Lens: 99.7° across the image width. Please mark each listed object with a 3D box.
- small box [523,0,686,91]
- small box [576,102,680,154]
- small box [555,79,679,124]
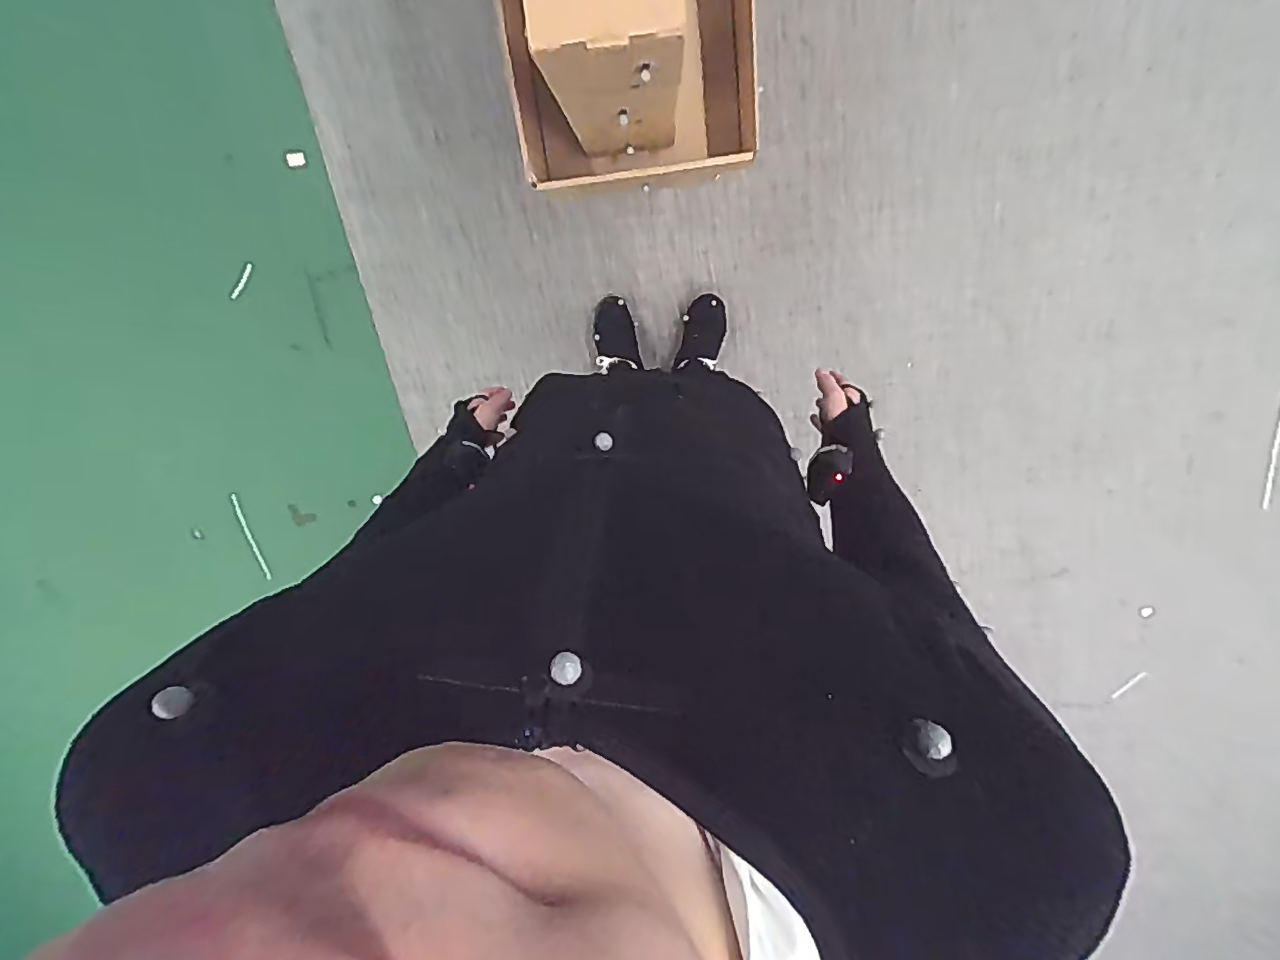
[{"bbox_3d":[-0.035,-0.553,0.592,0.168,0.176,0.179,-4,110,4],"label":"small box"},{"bbox_3d":[-0.024,-0.669,0.898,0.168,0.176,0.179,-5,109,5],"label":"small box"},{"bbox_3d":[-0.032,-0.614,0.745,0.168,0.176,0.179,-5,110,4],"label":"small box"}]
